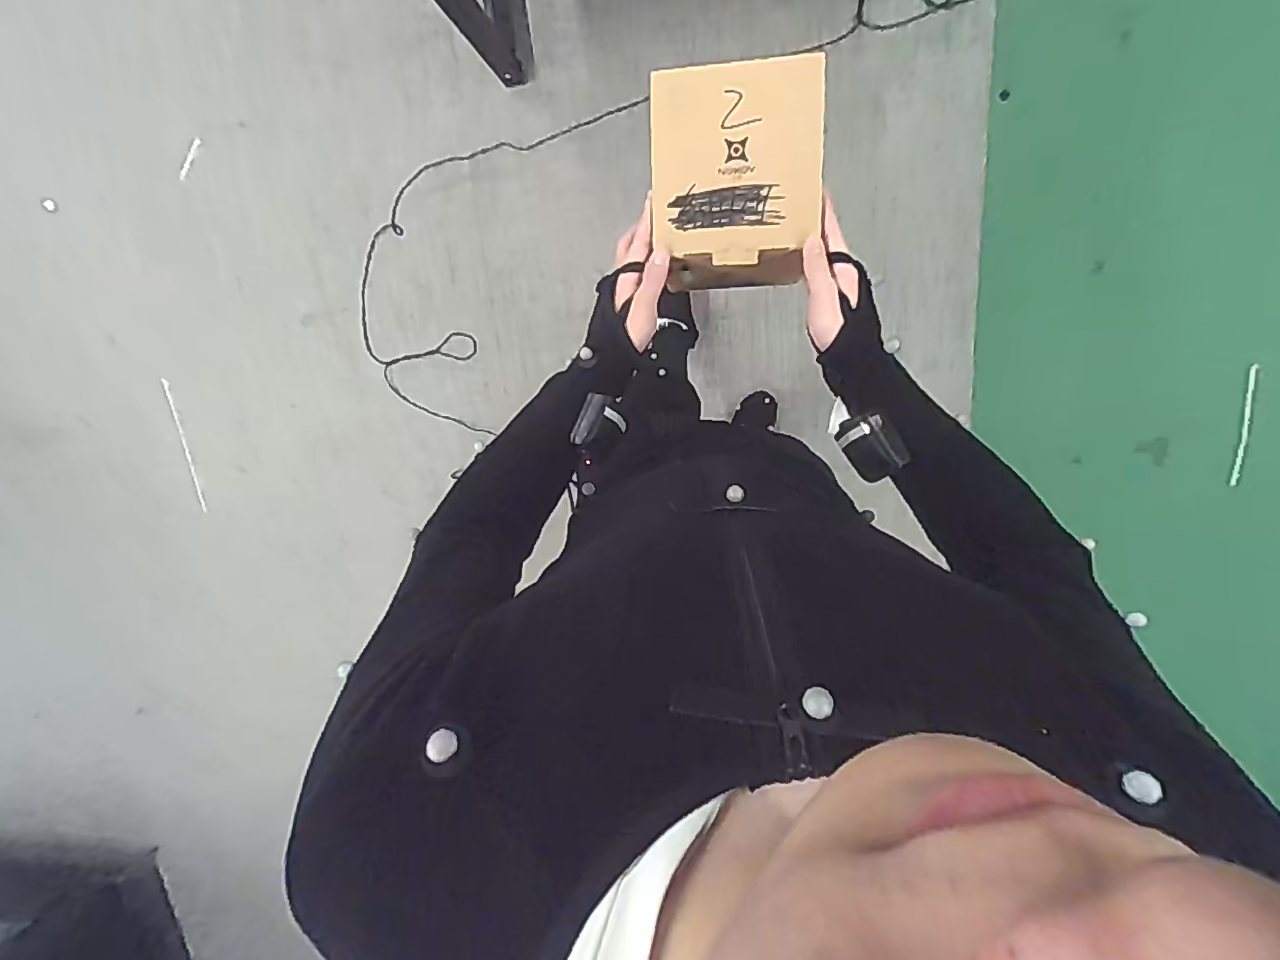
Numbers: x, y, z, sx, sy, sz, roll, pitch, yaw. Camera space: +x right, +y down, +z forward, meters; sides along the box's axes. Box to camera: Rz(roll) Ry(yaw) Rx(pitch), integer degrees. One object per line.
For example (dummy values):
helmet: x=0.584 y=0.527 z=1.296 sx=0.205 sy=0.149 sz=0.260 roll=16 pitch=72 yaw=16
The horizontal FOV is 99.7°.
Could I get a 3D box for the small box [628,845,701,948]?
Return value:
small box: x=0.070 y=1.102 z=1.418 sx=0.168 sy=0.176 sz=0.179 roll=-7 pitch=105 yaw=9
